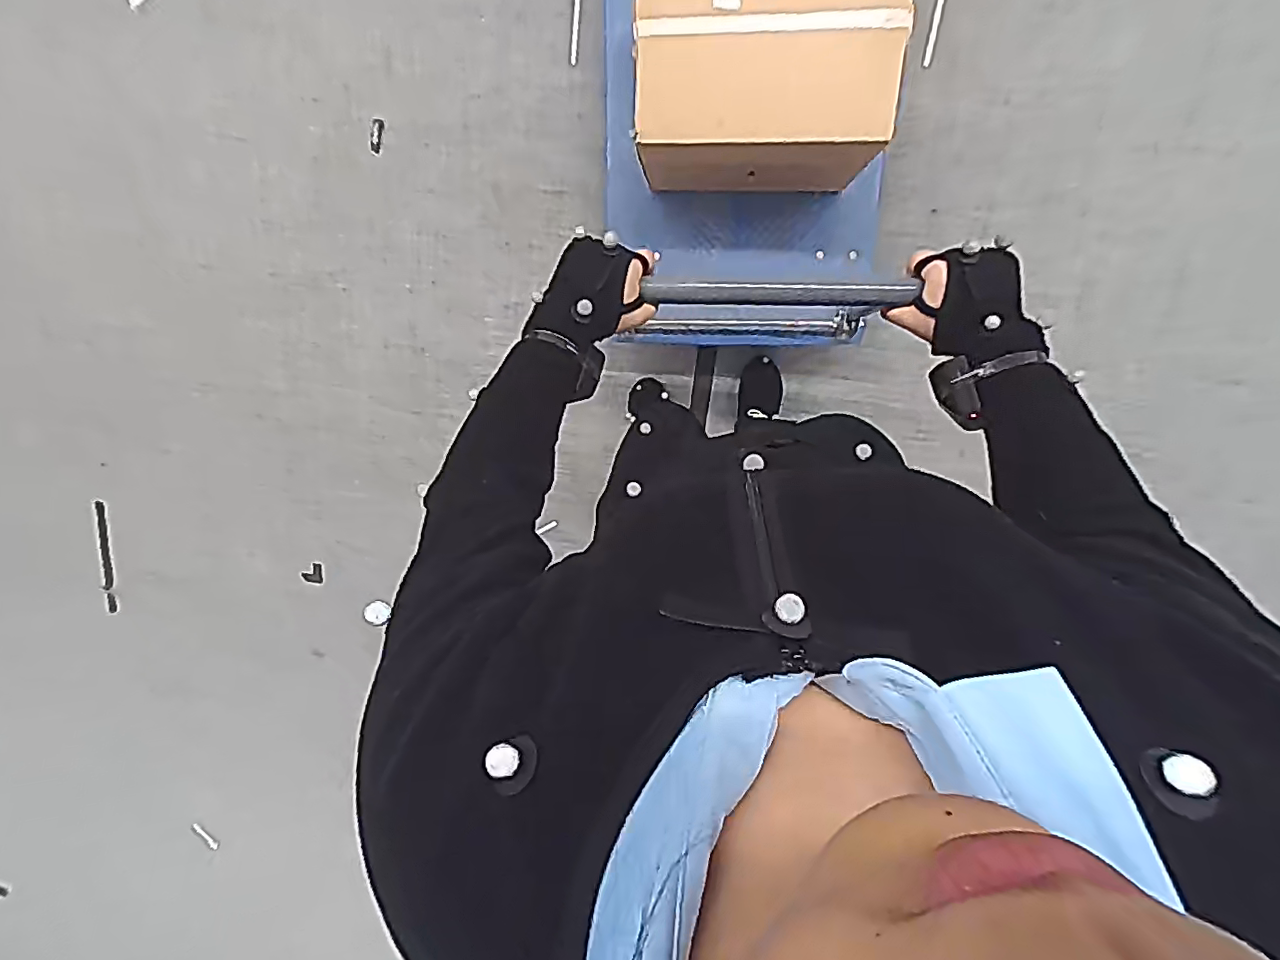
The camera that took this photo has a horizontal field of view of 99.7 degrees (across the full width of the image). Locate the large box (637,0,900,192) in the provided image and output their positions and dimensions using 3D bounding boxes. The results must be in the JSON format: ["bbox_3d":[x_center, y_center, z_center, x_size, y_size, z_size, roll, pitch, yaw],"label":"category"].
[{"bbox_3d":[0.213,-0.731,0.983,0.408,0.320,0.320,3,104,7],"label":"large box"}]
